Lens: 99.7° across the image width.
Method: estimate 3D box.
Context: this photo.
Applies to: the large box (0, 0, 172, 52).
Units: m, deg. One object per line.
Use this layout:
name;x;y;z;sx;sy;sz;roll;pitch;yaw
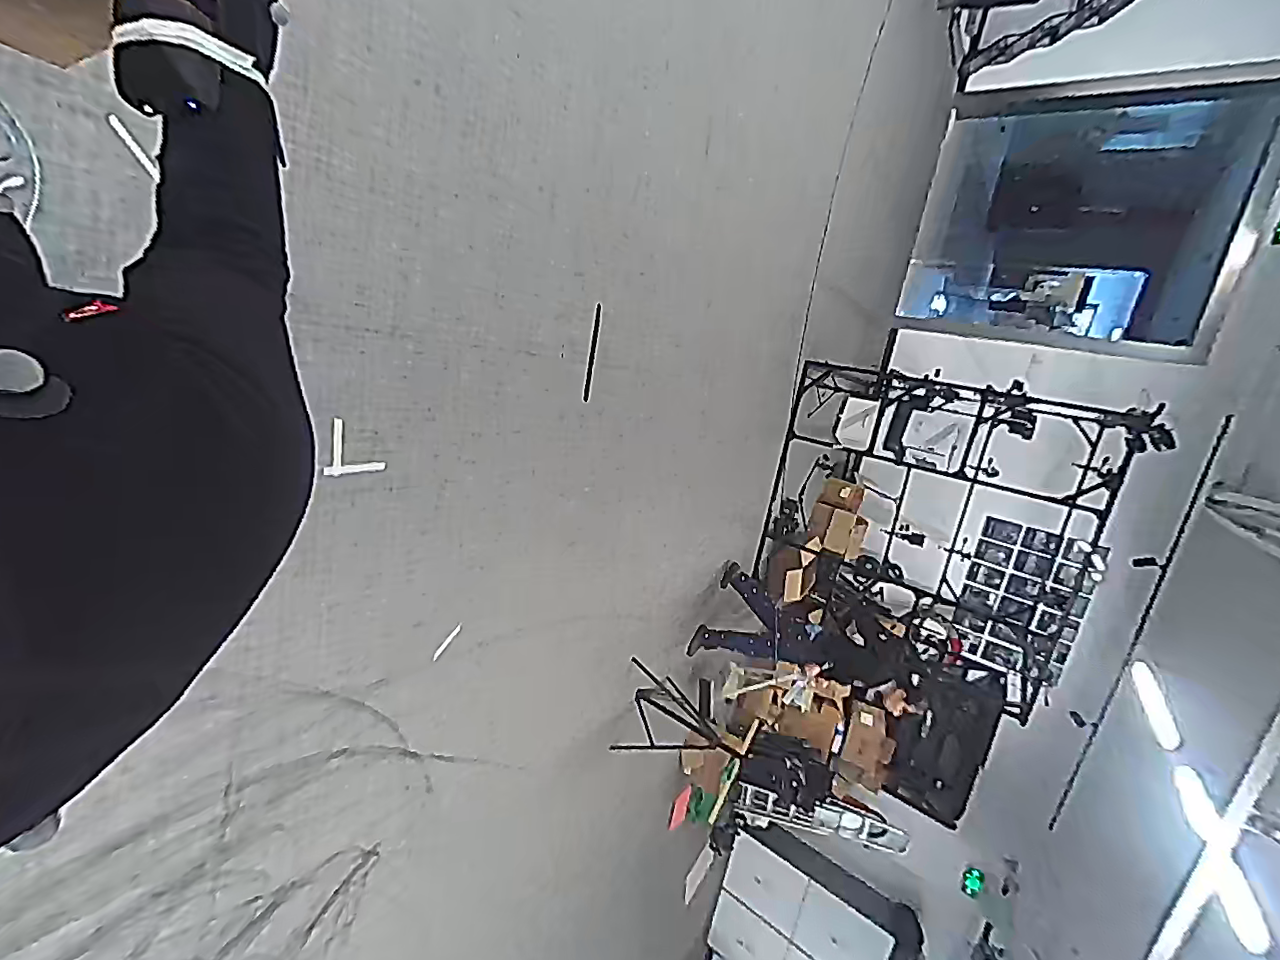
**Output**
large box;-0.530;-0.514;0.267;0.408;0.320;0.320;-4;111;-58
